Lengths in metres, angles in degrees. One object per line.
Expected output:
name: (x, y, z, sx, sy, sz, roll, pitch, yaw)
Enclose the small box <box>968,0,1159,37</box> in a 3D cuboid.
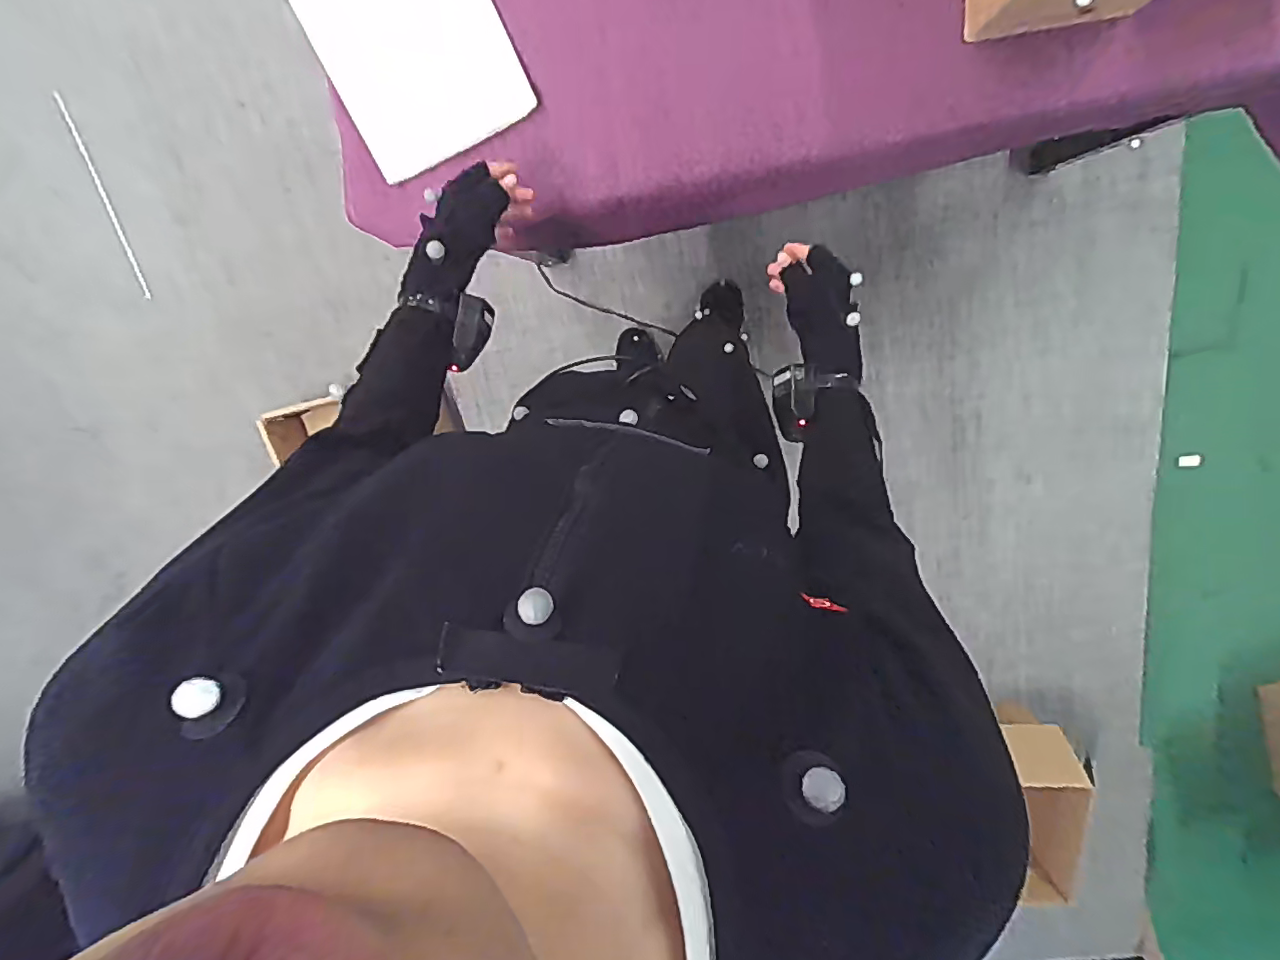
small box: (0.406, -0.515, 0.458, 0.168, 0.176, 0.179, -5, 108, 6)
